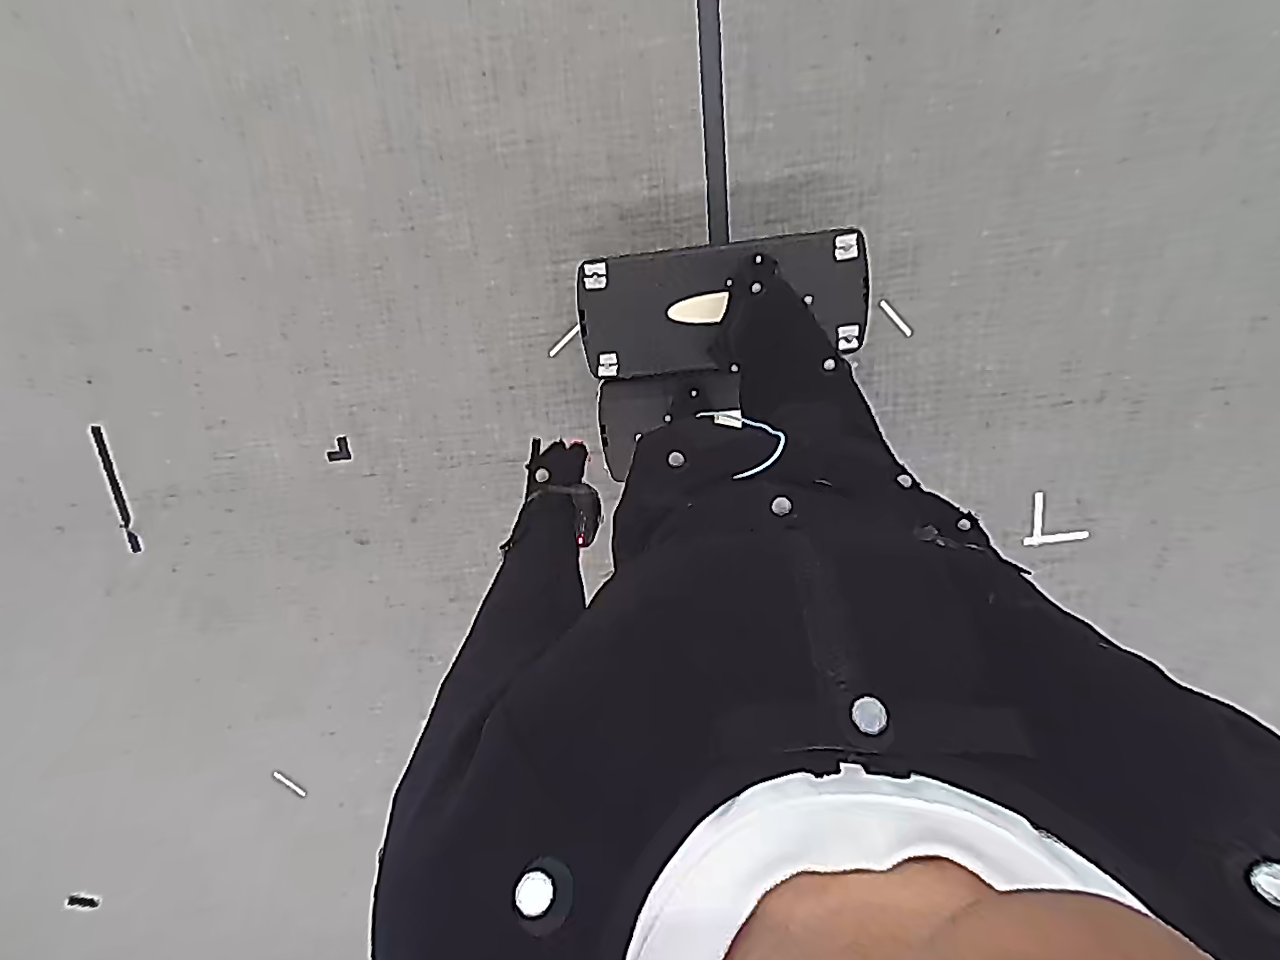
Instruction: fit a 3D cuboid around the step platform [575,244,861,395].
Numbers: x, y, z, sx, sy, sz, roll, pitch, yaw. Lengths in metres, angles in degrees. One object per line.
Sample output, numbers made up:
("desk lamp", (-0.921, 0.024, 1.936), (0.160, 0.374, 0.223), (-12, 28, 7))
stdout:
("step platform", (0.183, -0.389, 1.340), (0.684, 0.204, 0.286), (-6, 106, 4))
